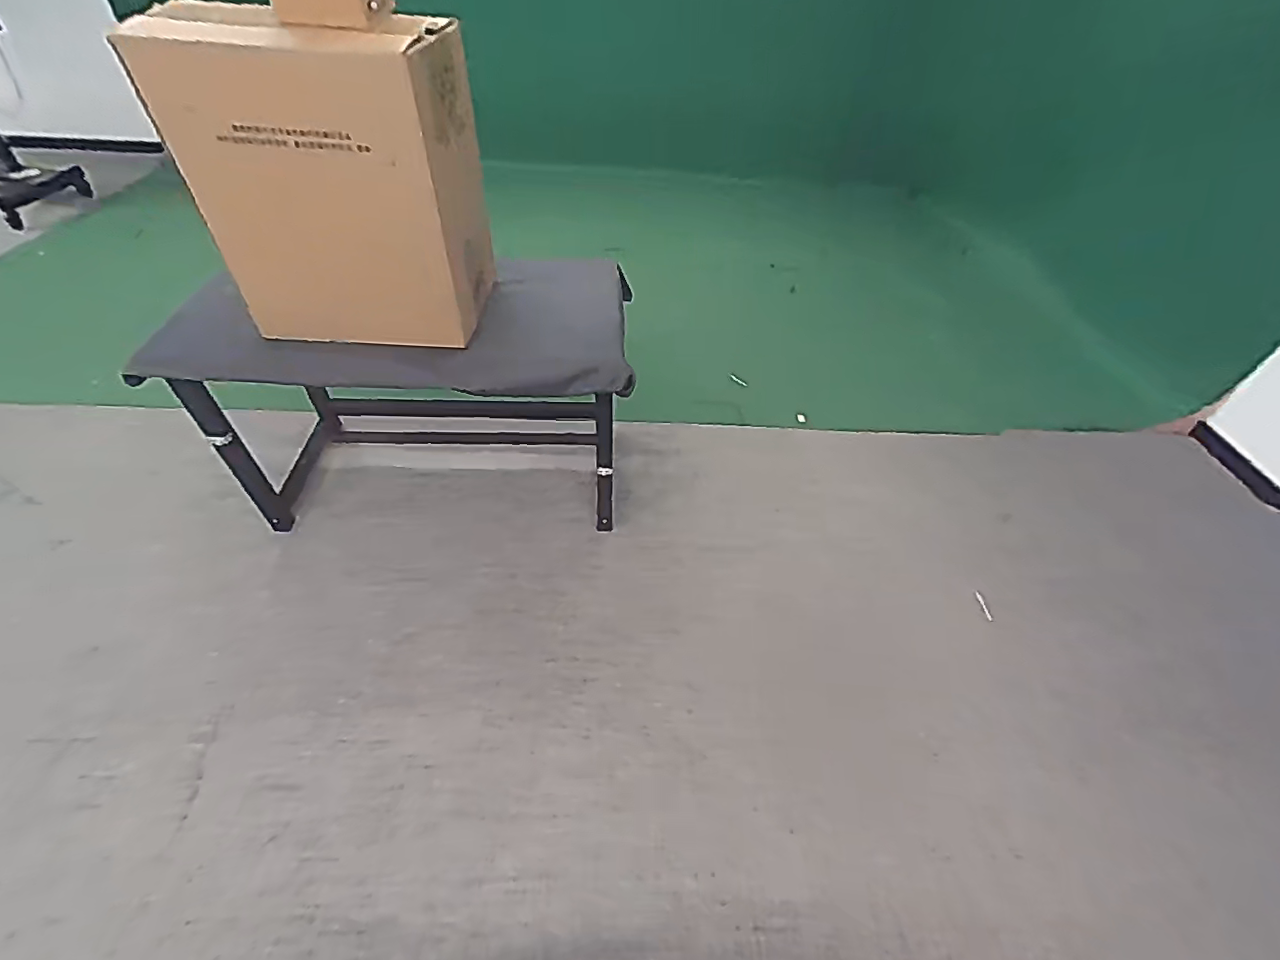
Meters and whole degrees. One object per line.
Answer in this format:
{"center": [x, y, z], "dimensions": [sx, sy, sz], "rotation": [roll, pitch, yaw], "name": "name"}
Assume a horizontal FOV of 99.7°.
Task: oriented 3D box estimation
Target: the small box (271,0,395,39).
{"center": [-0.591, -0.960, 1.019], "dimensions": [0.179, 0.176, 0.168], "rotation": [3, 53, 0], "name": "small box"}
